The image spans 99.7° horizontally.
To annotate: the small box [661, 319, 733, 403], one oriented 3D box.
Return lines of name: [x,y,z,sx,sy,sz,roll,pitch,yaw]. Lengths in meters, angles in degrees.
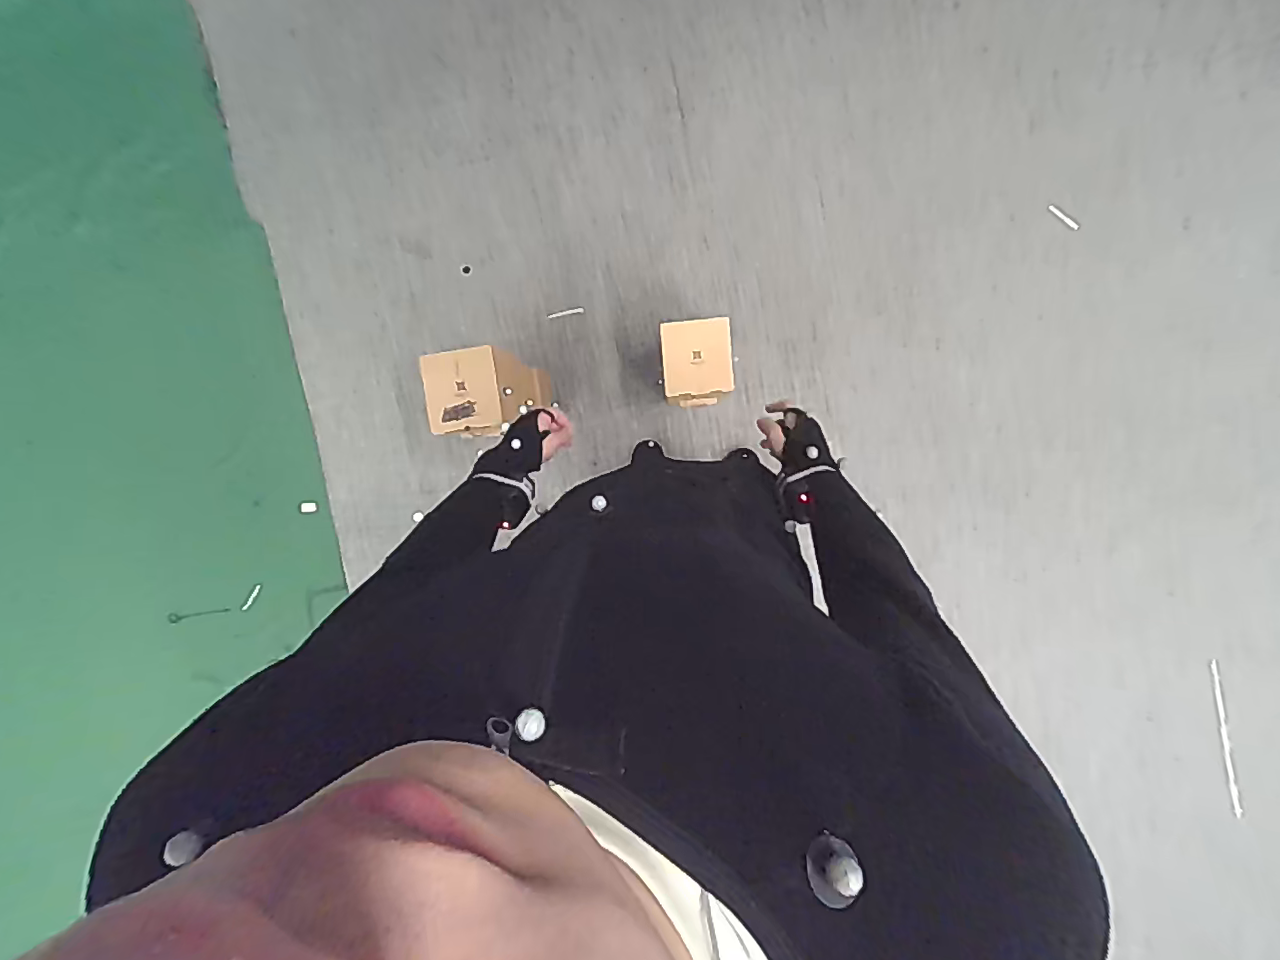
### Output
small box: [0.139,-0.293,1.359,0.168,0.176,0.179,-5,95,4]

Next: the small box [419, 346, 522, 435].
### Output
small box: [-0.380,-0.200,1.244,0.168,0.176,0.179,-7,94,5]

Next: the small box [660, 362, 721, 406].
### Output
small box: [0.145,-0.302,1.519,0.168,0.176,0.179,1,96,7]

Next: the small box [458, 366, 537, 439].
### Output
small box: [-0.375,-0.205,1.409,0.168,0.176,0.179,-6,96,5]

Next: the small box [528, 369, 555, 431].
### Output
small box: [-0.357,-0.223,1.570,0.179,0.176,0.168,-5,95,5]
